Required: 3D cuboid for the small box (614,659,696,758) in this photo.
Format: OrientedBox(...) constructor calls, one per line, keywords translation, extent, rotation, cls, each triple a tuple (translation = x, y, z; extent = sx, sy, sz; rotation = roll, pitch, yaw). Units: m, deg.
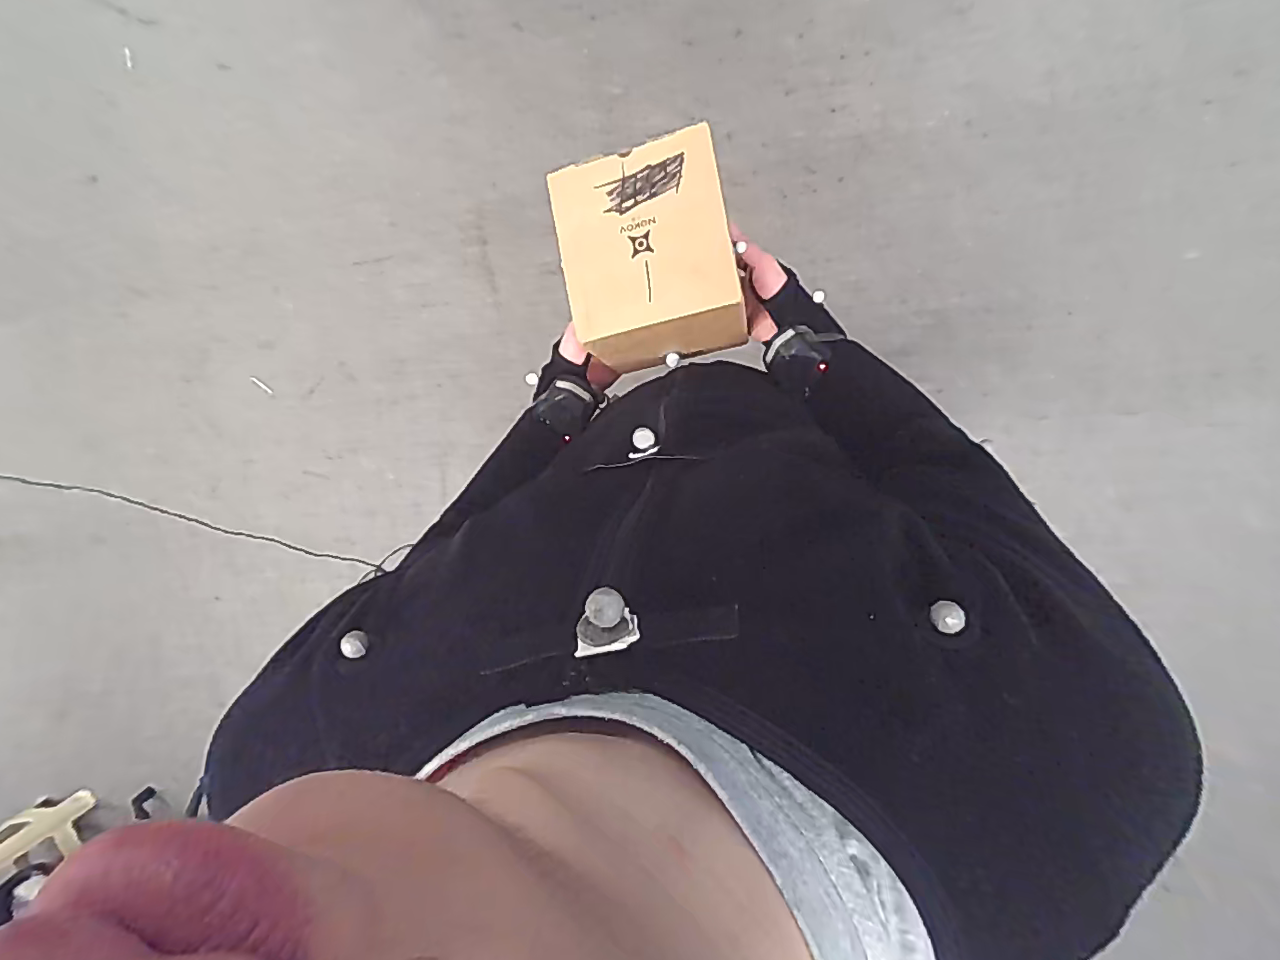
OrientedBox(translation=(0.051, 0.668, 1.604), extent=(0.168, 0.176, 0.179), rotation=(39, 106, 4), cls="small box")
